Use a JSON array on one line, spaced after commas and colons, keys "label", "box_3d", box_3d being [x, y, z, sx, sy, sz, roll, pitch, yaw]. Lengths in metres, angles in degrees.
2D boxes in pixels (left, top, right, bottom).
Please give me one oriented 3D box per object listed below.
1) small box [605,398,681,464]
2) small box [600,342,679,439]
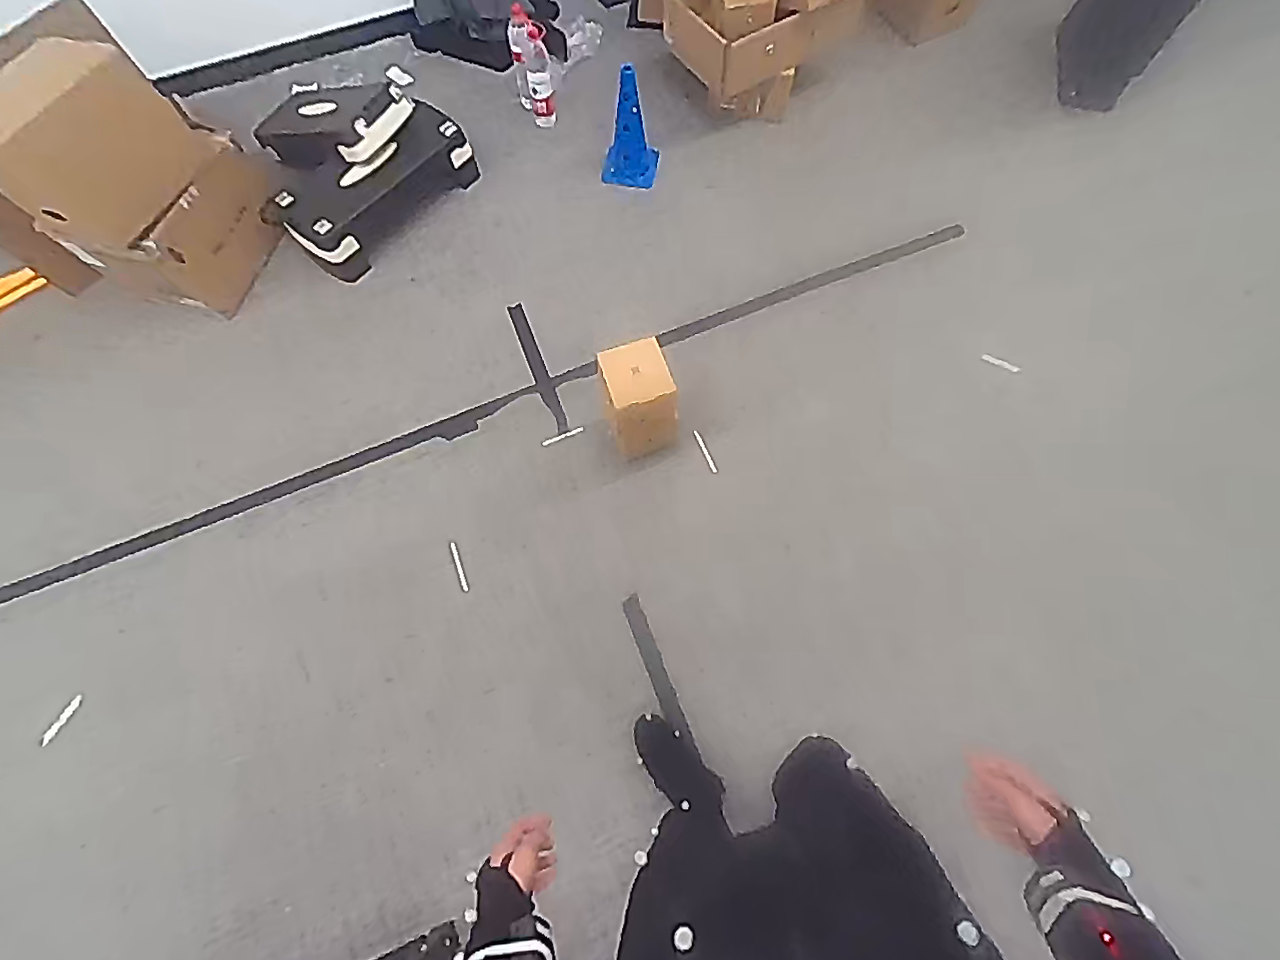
[{"label": "small box", "box_3d": [0.008, -0.171, 1.613, 0.179, 0.176, 0.168, -23, 71, -6]}, {"label": "small box", "box_3d": [-0.004, -0.237, 1.464, 0.168, 0.176, 0.179, -18, 71, -6]}]
